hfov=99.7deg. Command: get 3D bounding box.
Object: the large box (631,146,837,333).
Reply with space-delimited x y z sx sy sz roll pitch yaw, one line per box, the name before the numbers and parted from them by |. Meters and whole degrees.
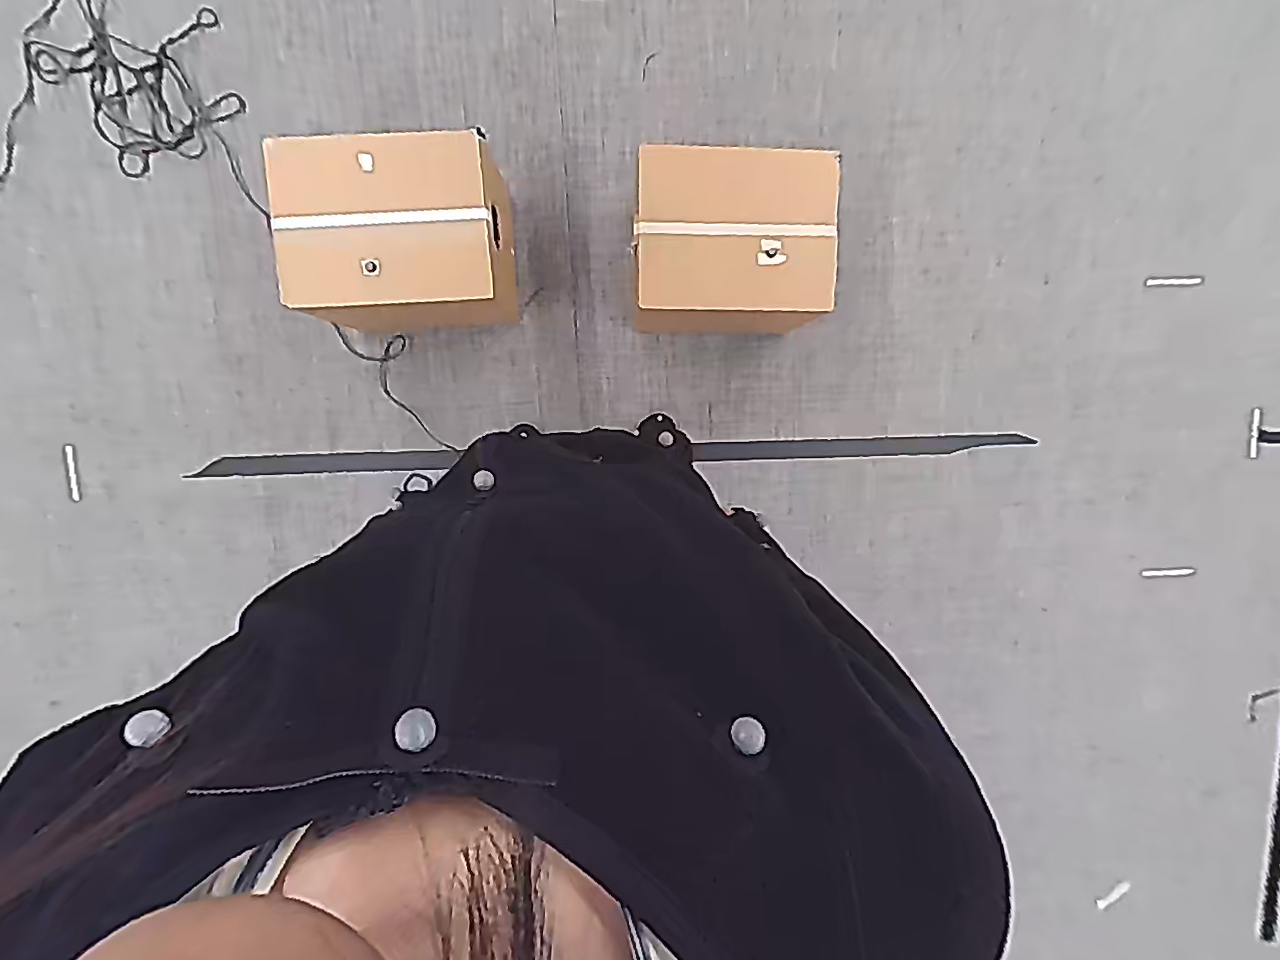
large box | 0.188 -0.520 1.236 0.408 0.320 0.320 0 97 -4
